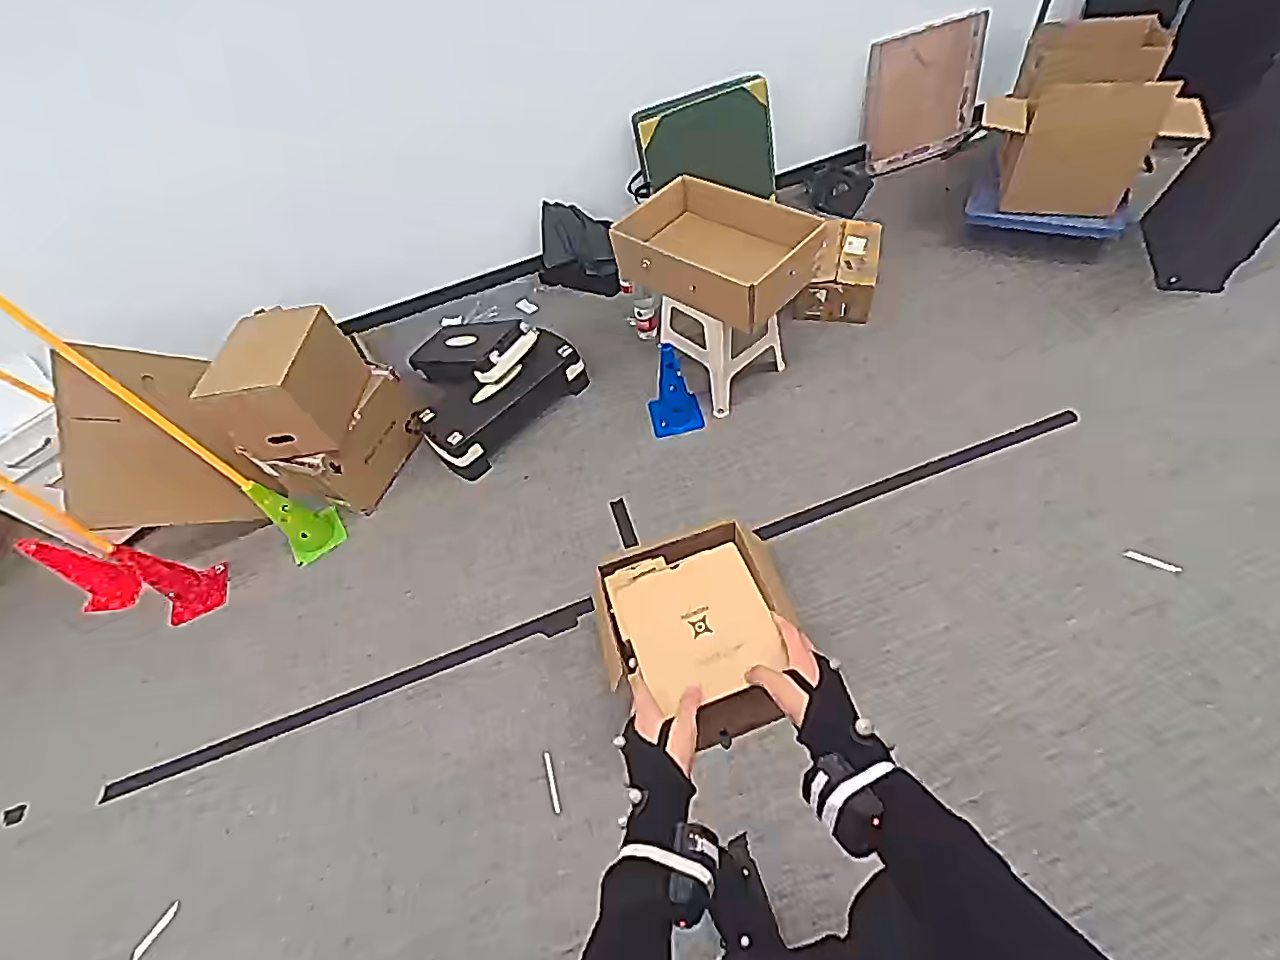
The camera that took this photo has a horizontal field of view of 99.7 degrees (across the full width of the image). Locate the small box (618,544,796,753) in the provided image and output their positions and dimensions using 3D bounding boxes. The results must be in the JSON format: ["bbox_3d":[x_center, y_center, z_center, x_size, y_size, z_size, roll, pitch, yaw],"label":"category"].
[{"bbox_3d":[0.084,0.219,0.699,0.168,0.176,0.179,-20,48,-3],"label":"small box"}]
